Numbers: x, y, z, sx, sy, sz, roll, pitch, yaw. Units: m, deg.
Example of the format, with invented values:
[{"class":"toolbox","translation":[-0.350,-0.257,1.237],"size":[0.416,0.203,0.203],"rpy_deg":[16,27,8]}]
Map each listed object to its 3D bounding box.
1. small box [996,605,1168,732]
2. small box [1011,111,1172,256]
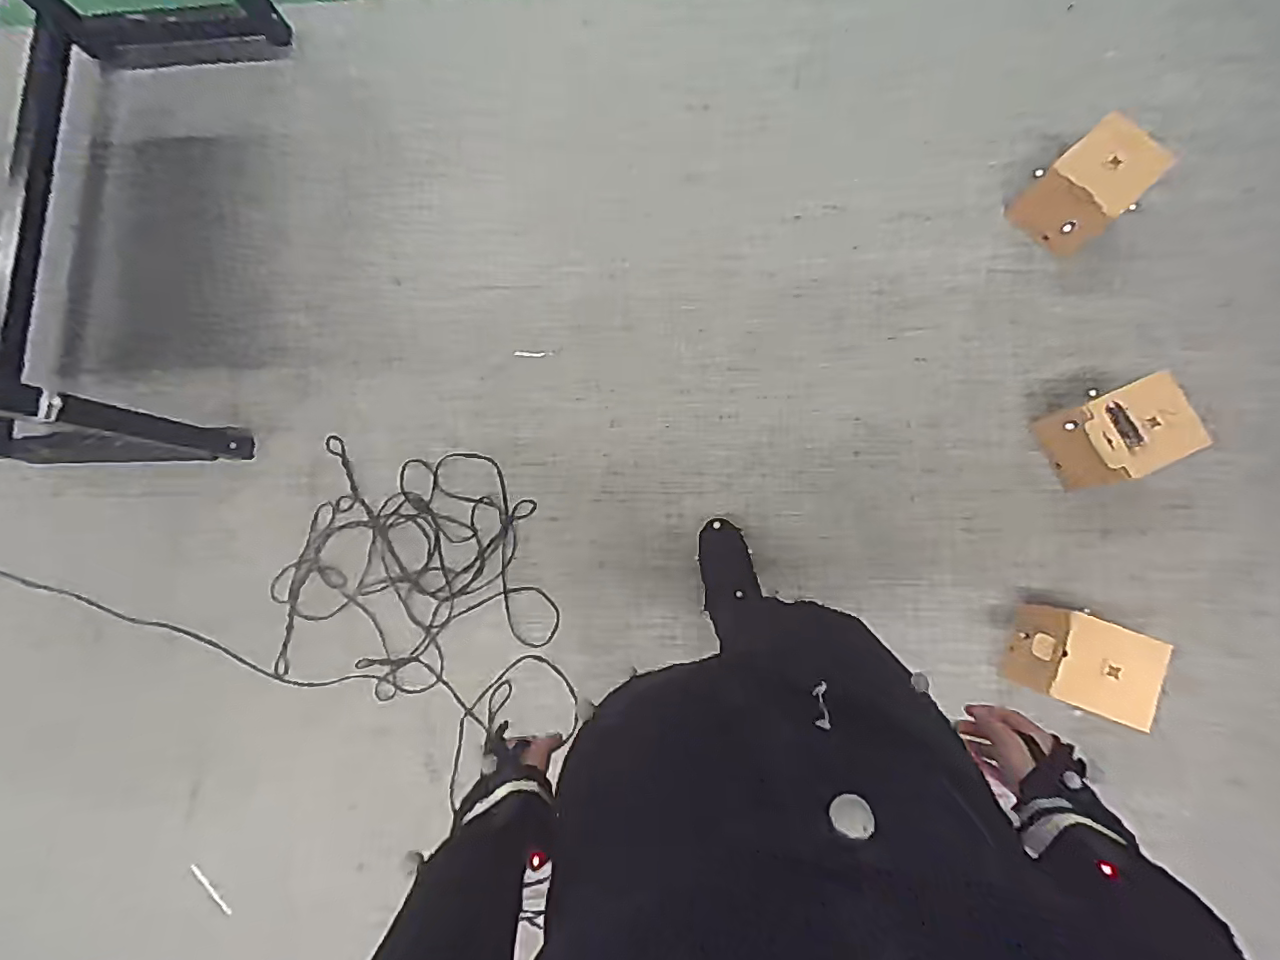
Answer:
[{"class":"small box","translation":[0.847,0.354,1.054],"size":[0.179,0.176,0.168],"rpy_deg":[20,85,6]},{"class":"small box","translation":[0.950,-0.624,1.163],"size":[0.179,0.176,0.168],"rpy_deg":[-43,84,-2]}]
